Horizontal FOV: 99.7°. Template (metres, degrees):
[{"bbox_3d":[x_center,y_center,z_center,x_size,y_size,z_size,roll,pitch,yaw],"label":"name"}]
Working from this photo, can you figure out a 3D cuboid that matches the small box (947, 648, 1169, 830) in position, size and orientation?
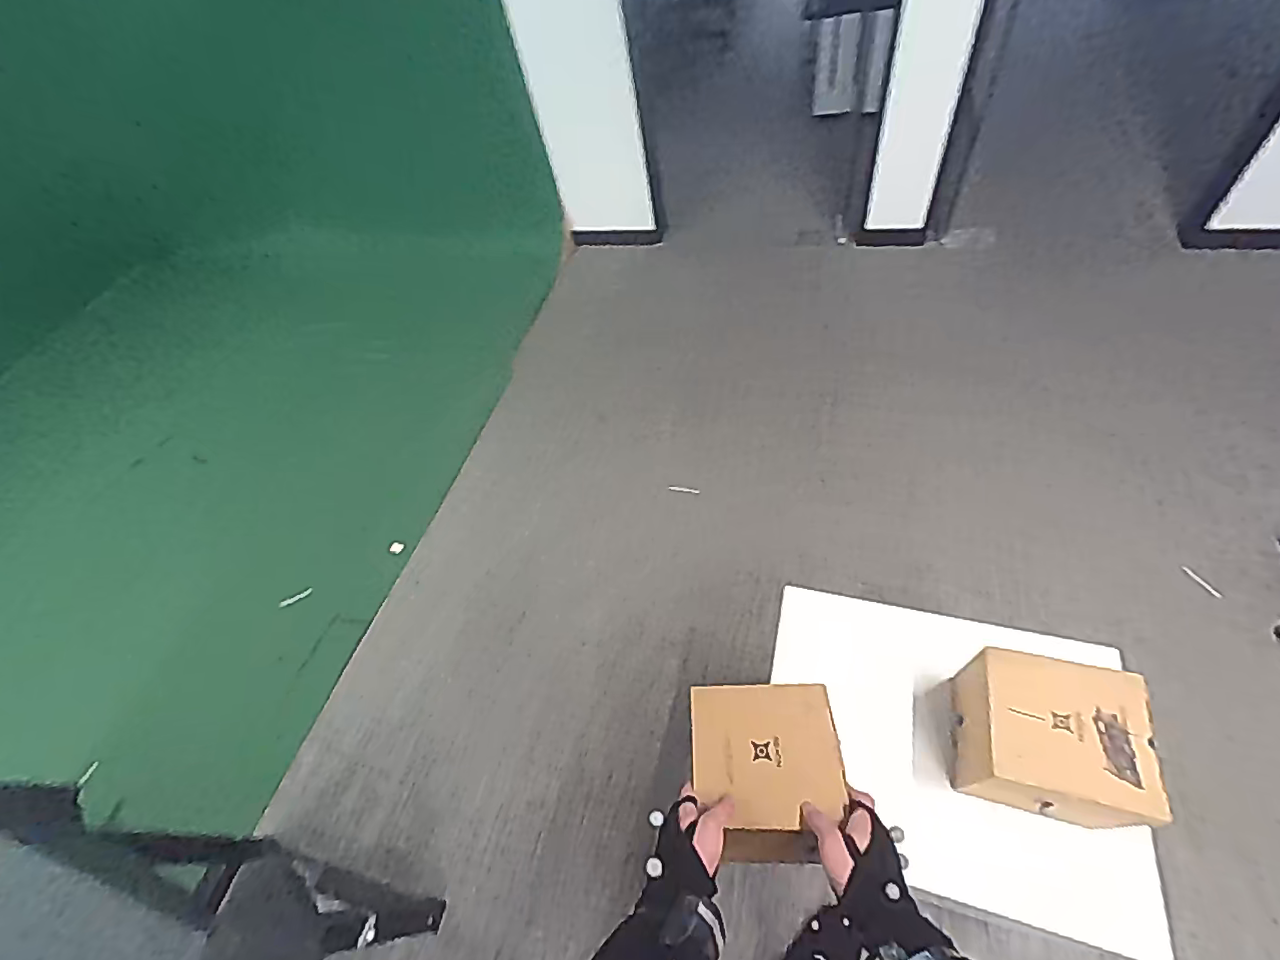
[{"bbox_3d":[0.532,0.347,0.720,0.179,0.176,0.168,9,56,17],"label":"small box"}]

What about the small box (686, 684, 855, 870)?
[{"bbox_3d":[0.154,0.377,0.686,0.179,0.176,0.168,-6,43,7],"label":"small box"}]
